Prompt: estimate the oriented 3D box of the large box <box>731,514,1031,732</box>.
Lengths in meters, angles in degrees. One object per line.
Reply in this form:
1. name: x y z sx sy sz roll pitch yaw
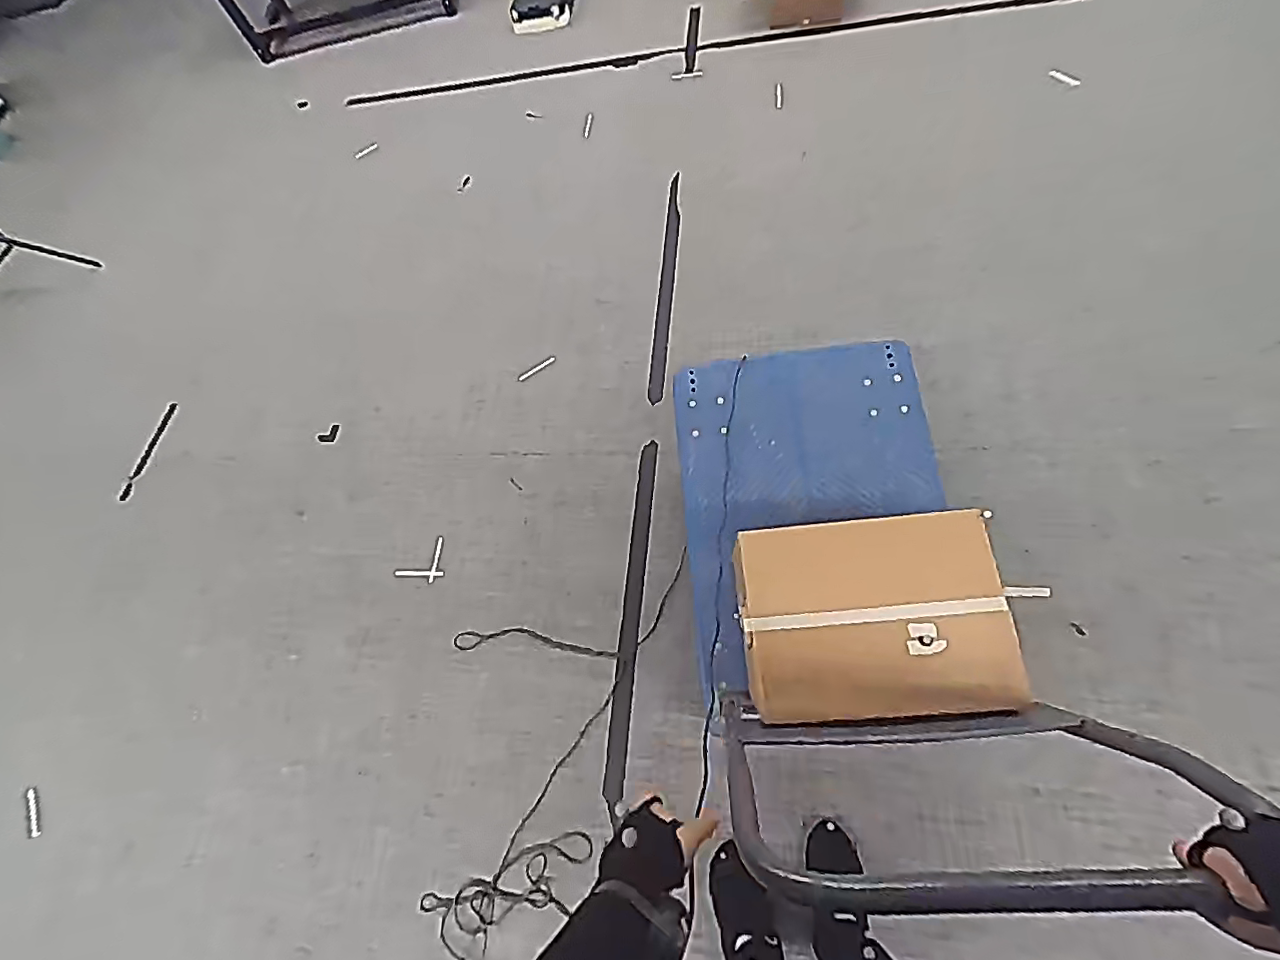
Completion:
1. large box: 0.396 0.268 1.013 0.408 0.320 0.320 -6 74 5
